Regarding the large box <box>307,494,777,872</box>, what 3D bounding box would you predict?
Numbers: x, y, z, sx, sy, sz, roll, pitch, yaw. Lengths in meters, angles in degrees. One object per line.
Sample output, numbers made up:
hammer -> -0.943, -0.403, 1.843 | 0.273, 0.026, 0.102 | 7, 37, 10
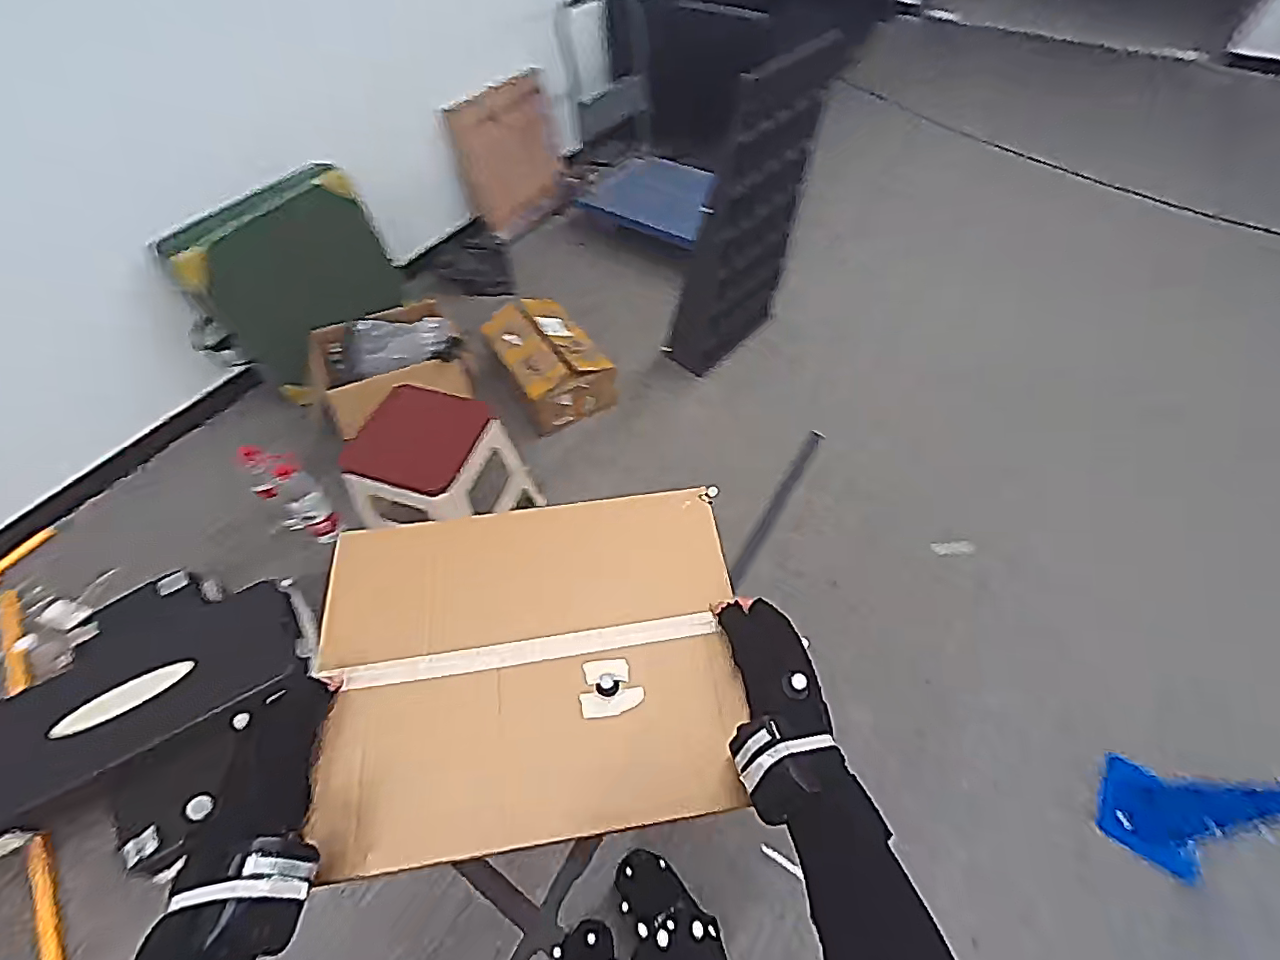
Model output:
large box -> -0.099, 0.244, 0.655 | 0.408, 0.320, 0.320 | -5, 59, -5

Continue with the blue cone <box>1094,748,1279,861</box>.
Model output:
blue cone -> 1.173, 0.655, 1.130 | 0.193, 0.380, 0.192 | 30, 59, 20
